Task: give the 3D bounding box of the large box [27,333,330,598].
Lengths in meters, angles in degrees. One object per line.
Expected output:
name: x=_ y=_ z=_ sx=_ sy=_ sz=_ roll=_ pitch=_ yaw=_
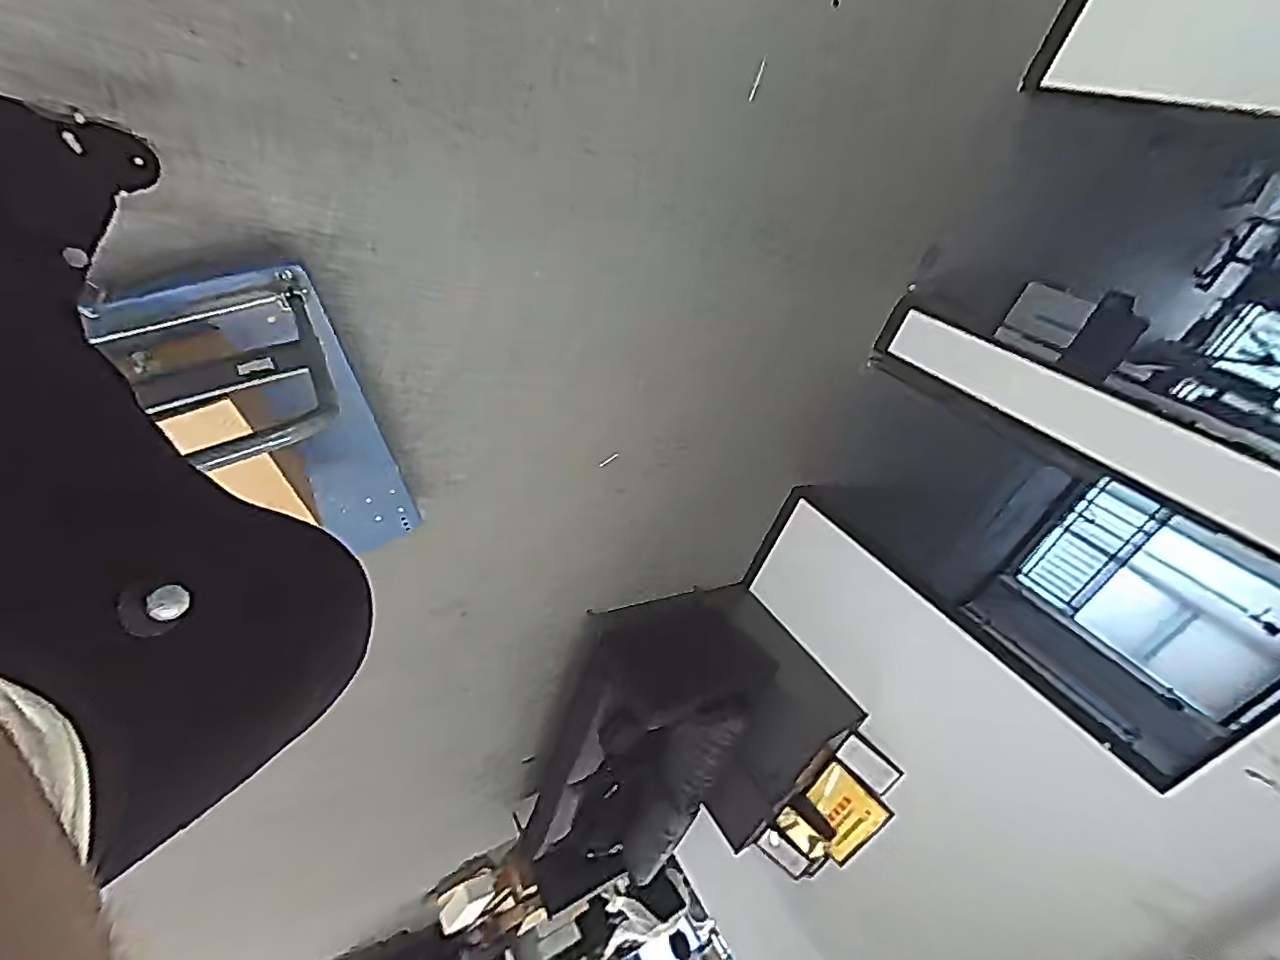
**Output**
large box: x=-0.939 y=-0.034 z=1.153 sx=0.320 sy=0.320 sz=0.408 roll=-25 pitch=139 yaw=-21
